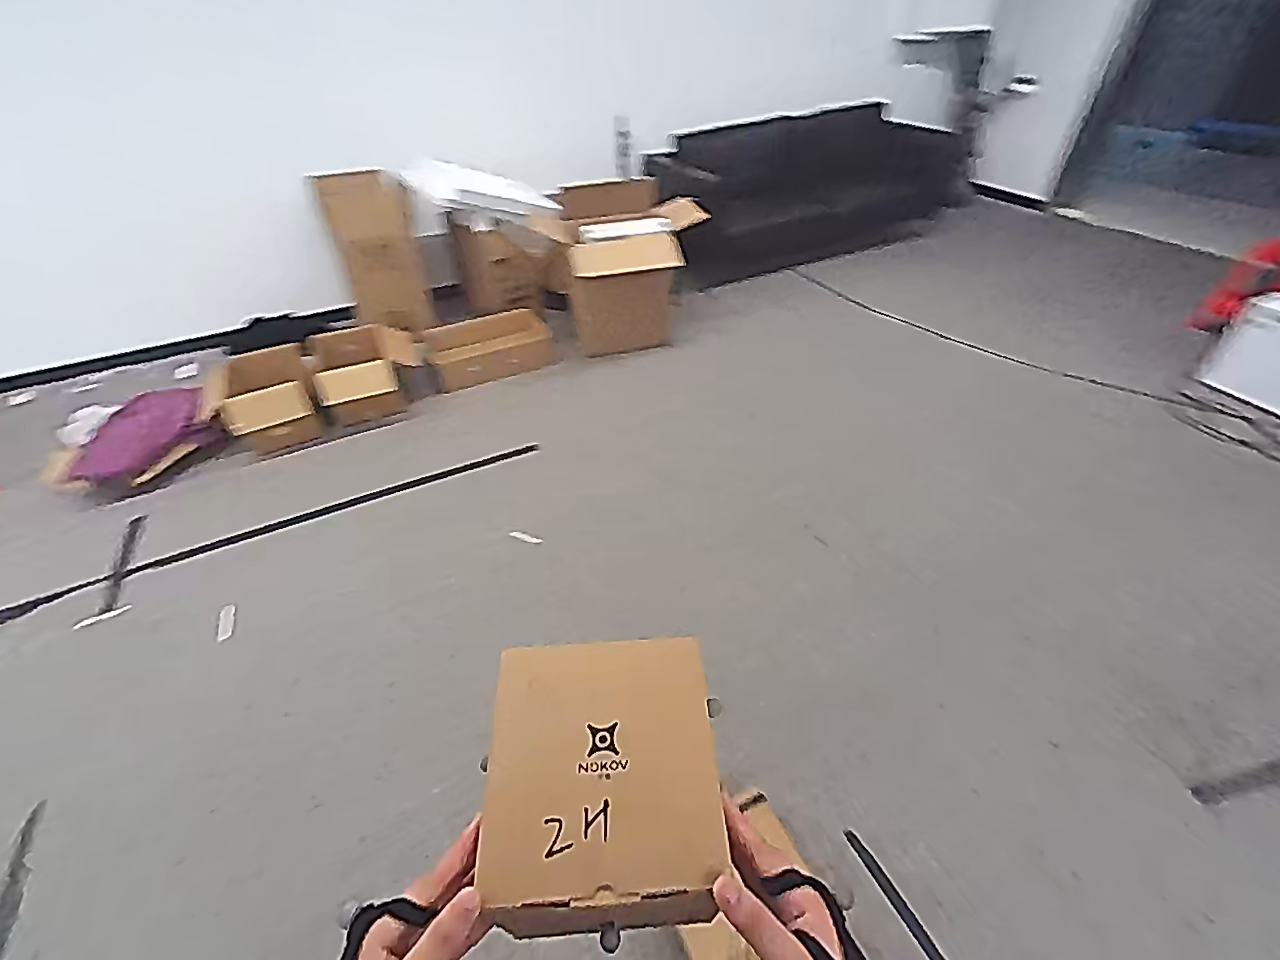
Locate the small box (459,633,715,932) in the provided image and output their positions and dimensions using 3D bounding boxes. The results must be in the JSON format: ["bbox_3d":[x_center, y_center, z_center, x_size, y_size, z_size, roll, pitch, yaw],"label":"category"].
[{"bbox_3d":[-0.039,0.253,0.456,0.168,0.176,0.179,-4,46,-3],"label":"small box"}]
